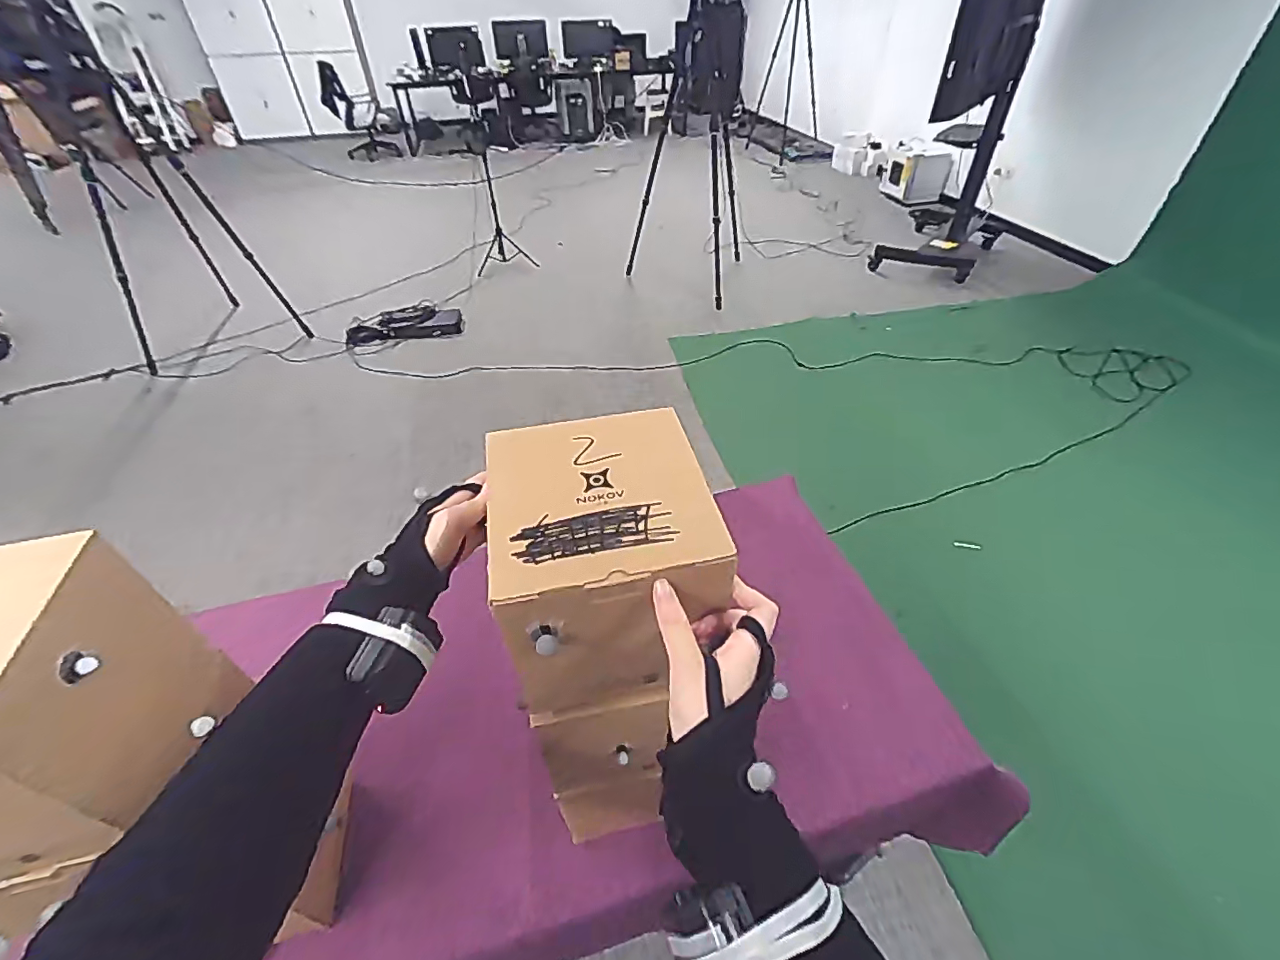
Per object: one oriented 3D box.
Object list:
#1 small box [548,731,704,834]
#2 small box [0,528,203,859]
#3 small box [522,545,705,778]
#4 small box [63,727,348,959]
[{"bbox_3d":[-0.025,0.326,0.697,0.179,0.176,0.168,-10,43,-8],"label":"small box"},{"bbox_3d":[-0.479,0.168,0.404,0.168,0.176,0.179,-11,42,-11],"label":"small box"},{"bbox_3d":[-0.031,0.201,0.589,0.168,0.176,0.179,-8,43,-7],"label":"small box"},{"bbox_3d":[-0.462,0.415,0.618,0.179,0.176,0.168,-10,43,-9],"label":"small box"}]
